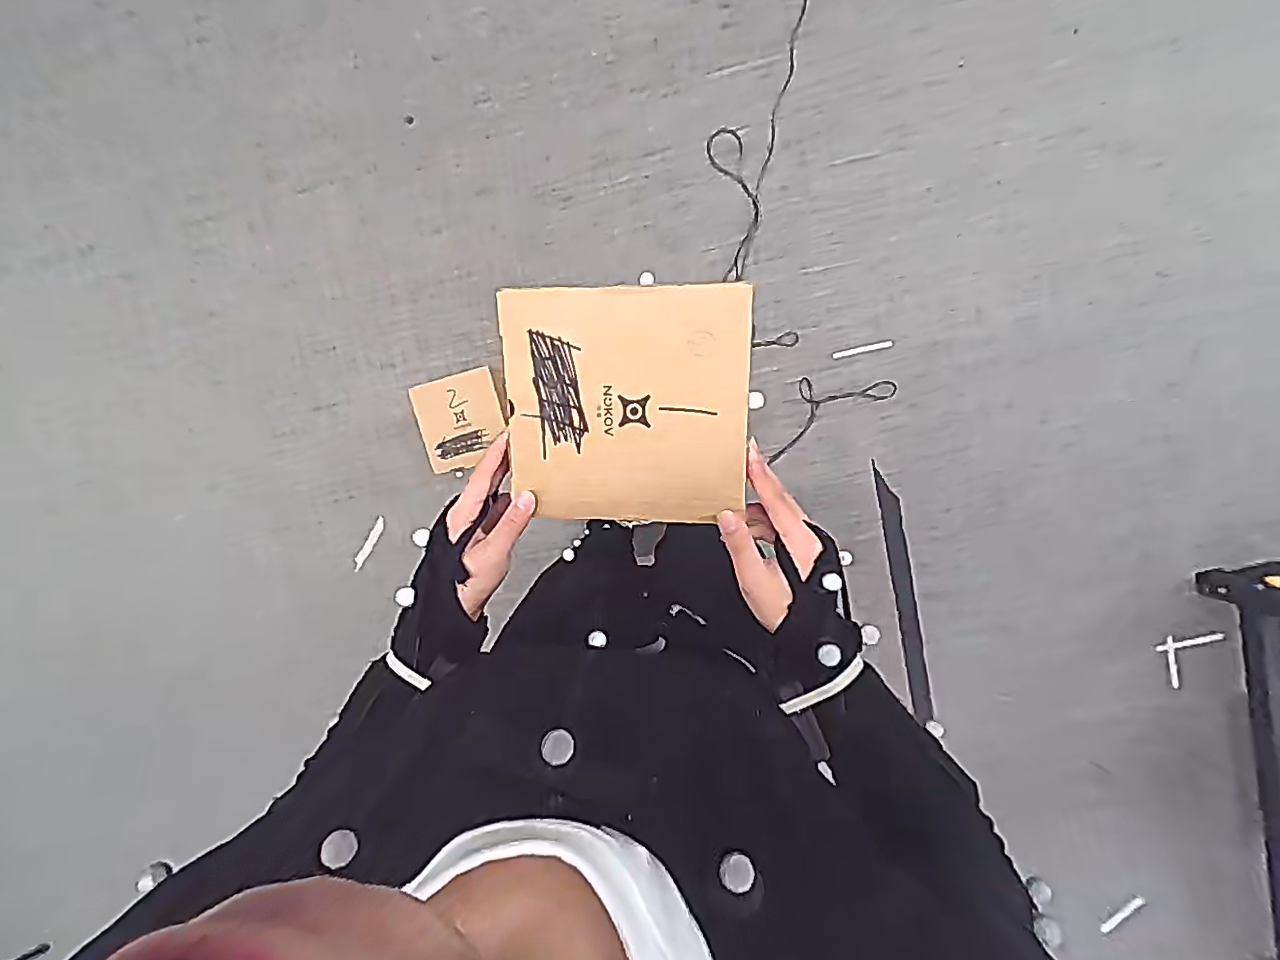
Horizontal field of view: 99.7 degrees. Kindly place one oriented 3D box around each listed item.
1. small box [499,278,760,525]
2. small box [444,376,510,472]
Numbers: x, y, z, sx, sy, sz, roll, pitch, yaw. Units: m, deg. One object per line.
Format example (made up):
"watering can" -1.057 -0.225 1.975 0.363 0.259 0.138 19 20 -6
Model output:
"small box" 0.002 -0.070 0.446 0.179 0.176 0.168 2 105 8
"small box" -0.323 -0.132 1.261 0.168 0.176 0.179 -19 96 5
